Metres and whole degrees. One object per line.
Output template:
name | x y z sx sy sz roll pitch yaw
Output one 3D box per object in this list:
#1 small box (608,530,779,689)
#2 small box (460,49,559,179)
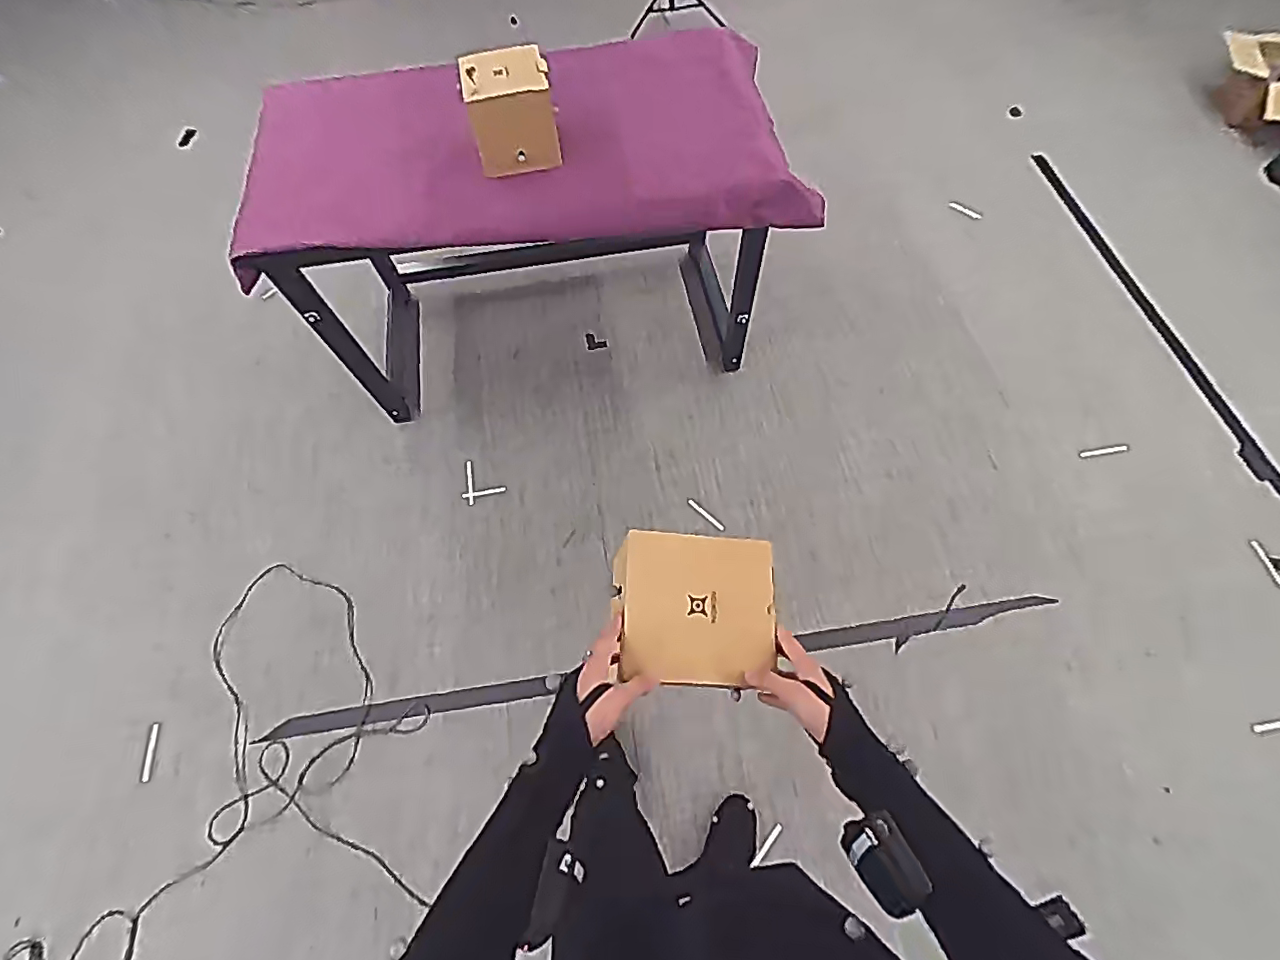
small box | 0.056 0.169 0.675 0.179 0.176 0.168 5 69 -8
small box | -0.278 -0.794 1.182 0.179 0.176 0.168 -12 64 -4
